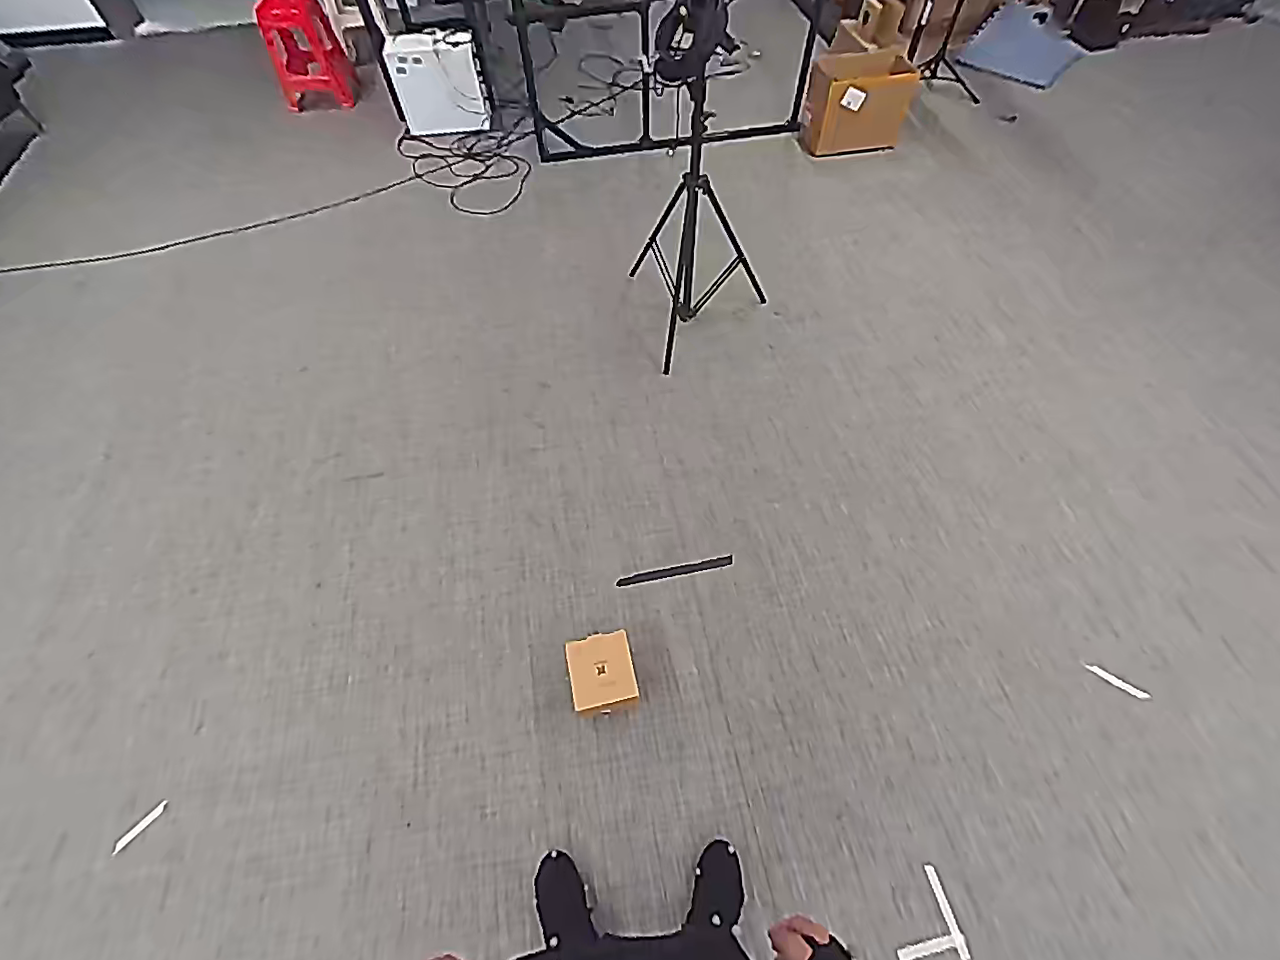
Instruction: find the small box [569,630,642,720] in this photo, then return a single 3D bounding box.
[{"bbox_3d":[-0.091,0.527,1.456,0.168,0.176,0.179,-12,59,-5],"label":"small box"}]
